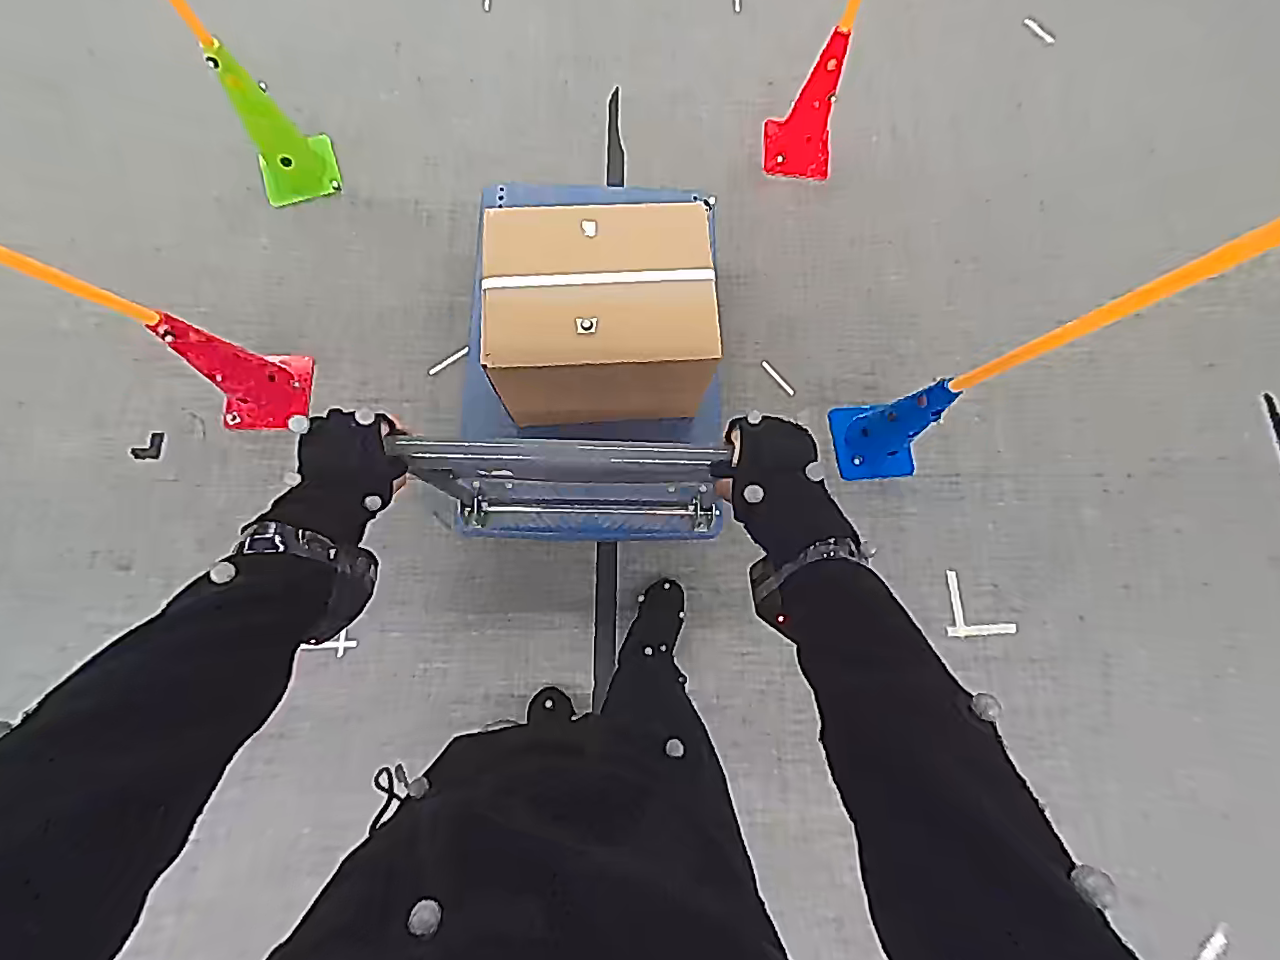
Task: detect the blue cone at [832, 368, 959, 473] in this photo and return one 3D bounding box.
[{"bbox_3d":[0.616,-0.153,1.259,0.193,0.380,0.192,-4,75,-4],"label":"blue cone"}]

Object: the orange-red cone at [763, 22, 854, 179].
[{"bbox_3d":[0.482,-1.033,1.451,0.199,0.360,0.198,7,77,-2],"label":"orange-red cone"}]
